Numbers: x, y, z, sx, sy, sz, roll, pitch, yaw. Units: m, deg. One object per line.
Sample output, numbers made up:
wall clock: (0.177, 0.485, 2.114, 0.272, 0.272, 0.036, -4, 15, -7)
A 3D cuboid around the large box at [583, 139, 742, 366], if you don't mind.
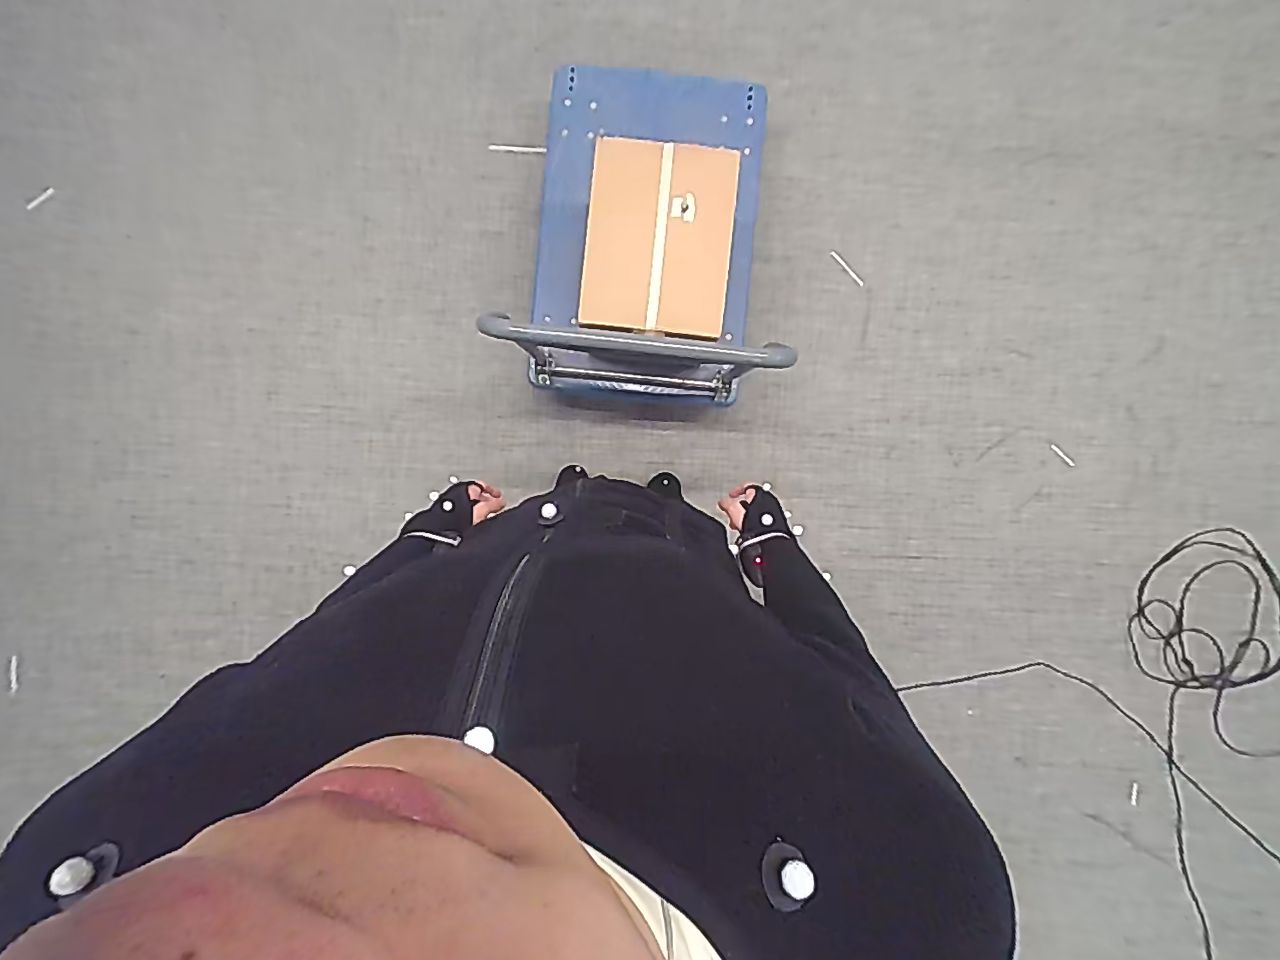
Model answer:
large box: (0.046, -0.511, 1.295, 0.320, 0.320, 0.408, 6, 90, -2)
